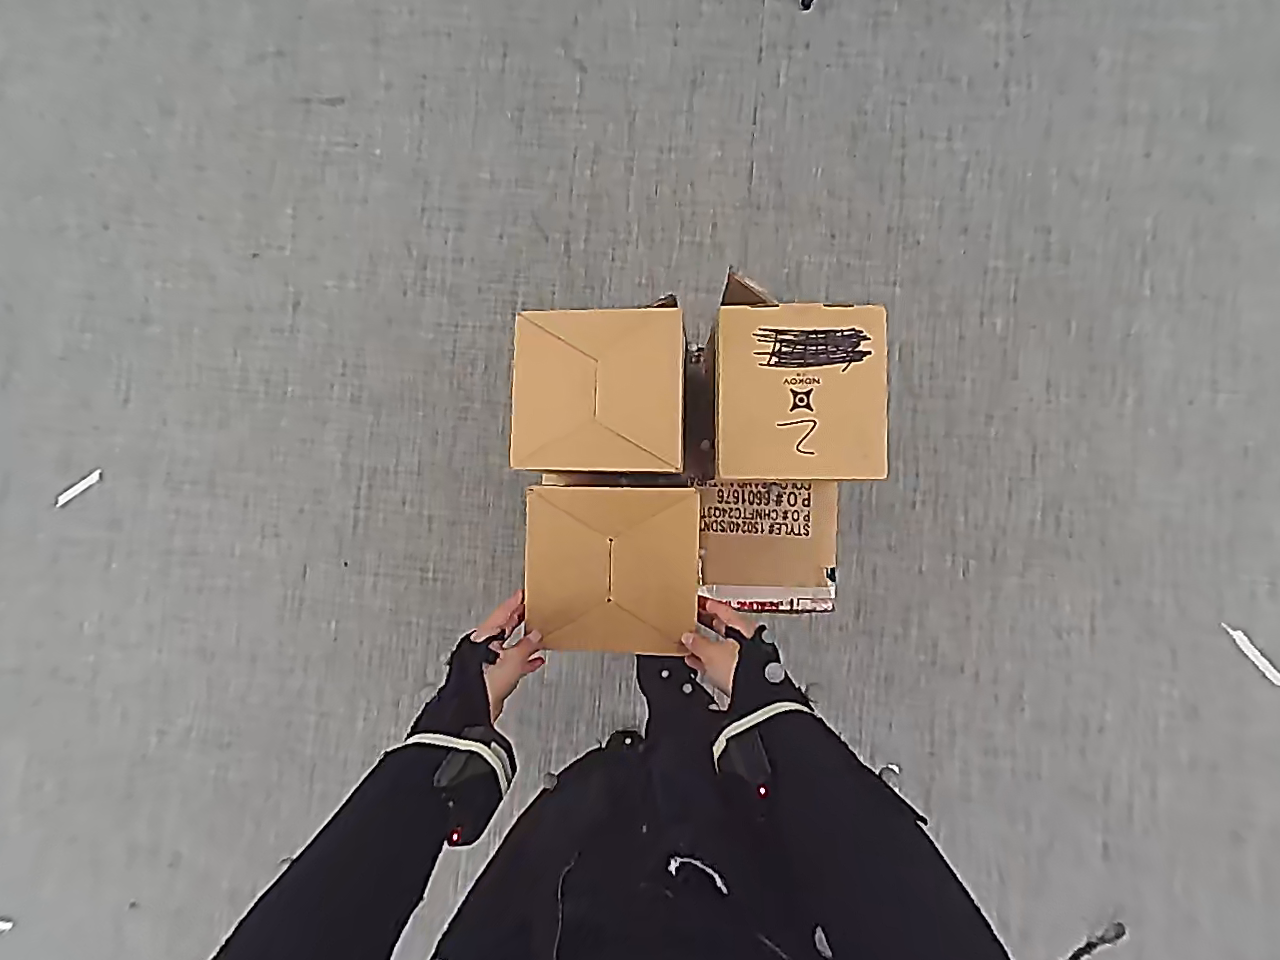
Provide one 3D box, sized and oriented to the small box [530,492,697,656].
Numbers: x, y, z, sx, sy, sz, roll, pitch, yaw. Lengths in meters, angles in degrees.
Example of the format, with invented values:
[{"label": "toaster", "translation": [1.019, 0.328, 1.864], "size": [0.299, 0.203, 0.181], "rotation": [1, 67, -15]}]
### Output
[{"label": "small box", "translation": [-0.025, 0.097, 0.627], "size": [0.179, 0.176, 0.168], "rotation": [1, 89, 5]}]
